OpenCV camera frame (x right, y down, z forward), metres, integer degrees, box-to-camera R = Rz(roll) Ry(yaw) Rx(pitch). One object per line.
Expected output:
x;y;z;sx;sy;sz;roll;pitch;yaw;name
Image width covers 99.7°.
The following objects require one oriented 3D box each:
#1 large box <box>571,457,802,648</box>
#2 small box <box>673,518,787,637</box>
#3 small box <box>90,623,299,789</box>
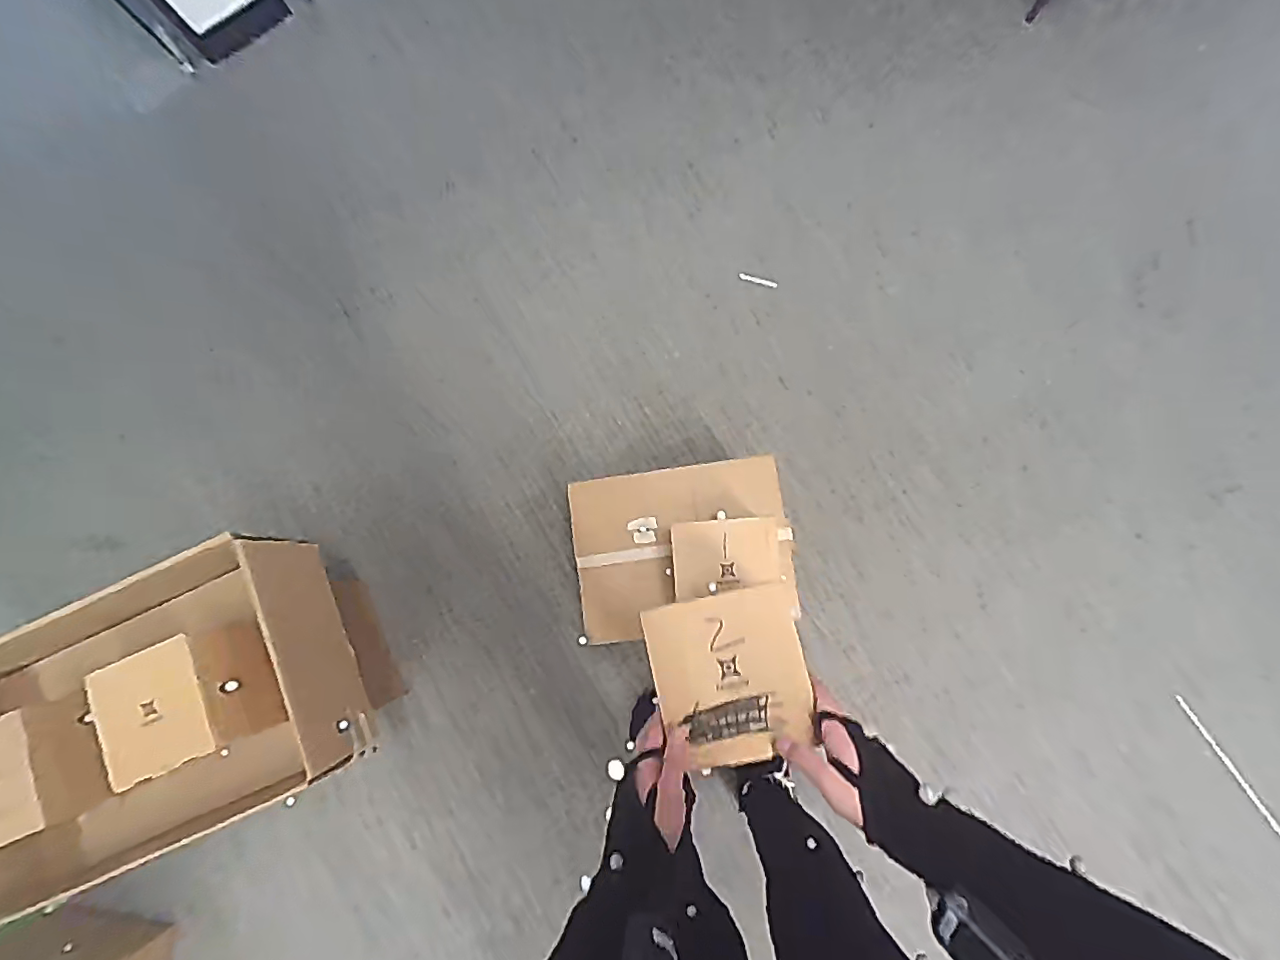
0.096;0.153;1.164;0.408;0.320;0.320;-8;81;5;large box
0.145;0.157;0.910;0.168;0.176;0.179;-4;83;4;small box
-0.684;0.337;0.849;0.168;0.176;0.179;-24;82;1;small box
